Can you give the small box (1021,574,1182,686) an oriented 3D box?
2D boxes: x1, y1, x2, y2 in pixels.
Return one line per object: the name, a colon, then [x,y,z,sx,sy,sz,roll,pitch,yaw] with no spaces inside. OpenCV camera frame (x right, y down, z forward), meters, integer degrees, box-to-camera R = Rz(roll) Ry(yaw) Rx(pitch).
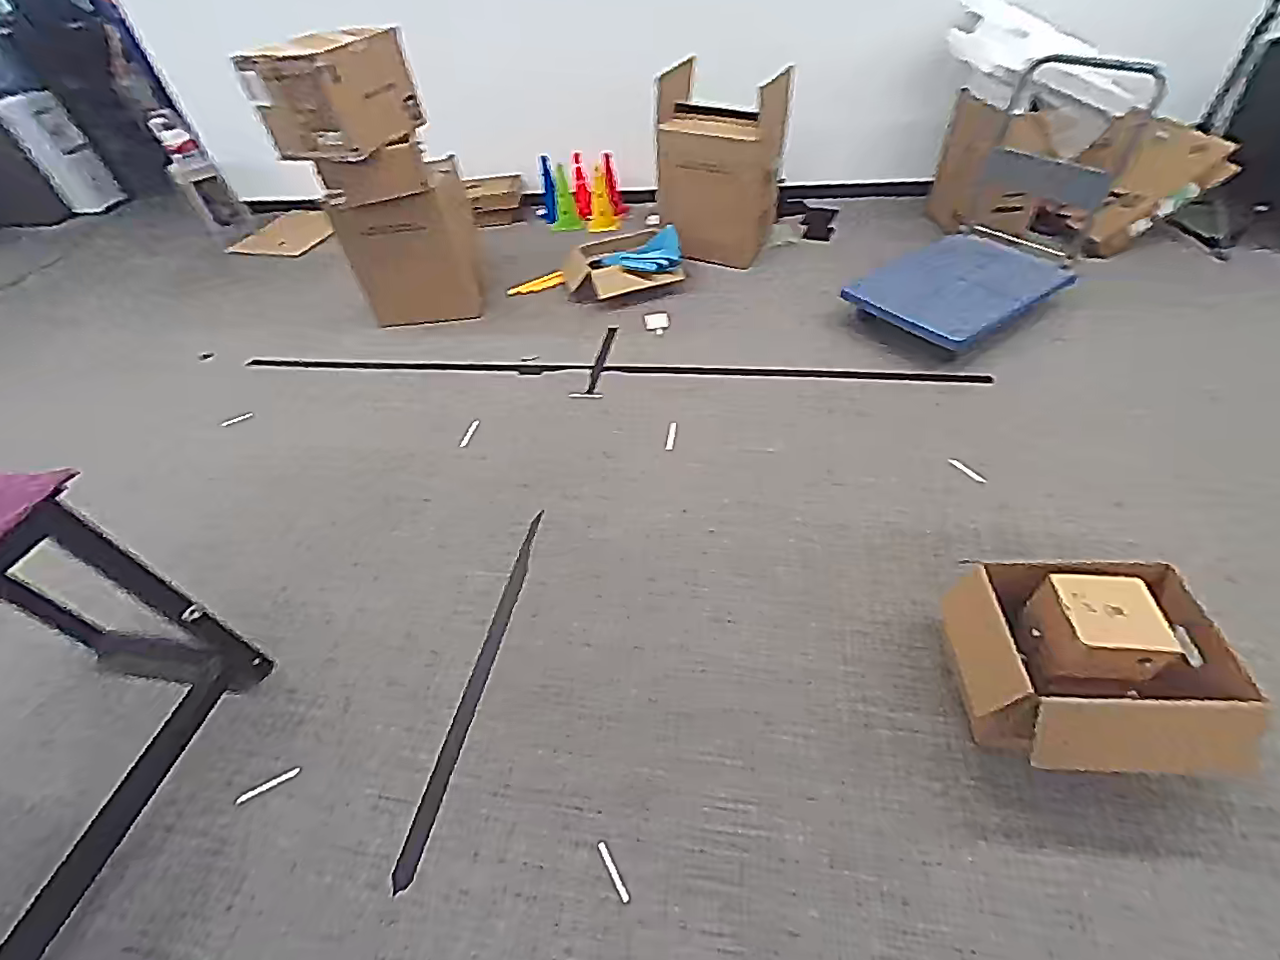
small box: [0.954,0.318,1.138,0.179,0.176,0.168,2,46,9]
